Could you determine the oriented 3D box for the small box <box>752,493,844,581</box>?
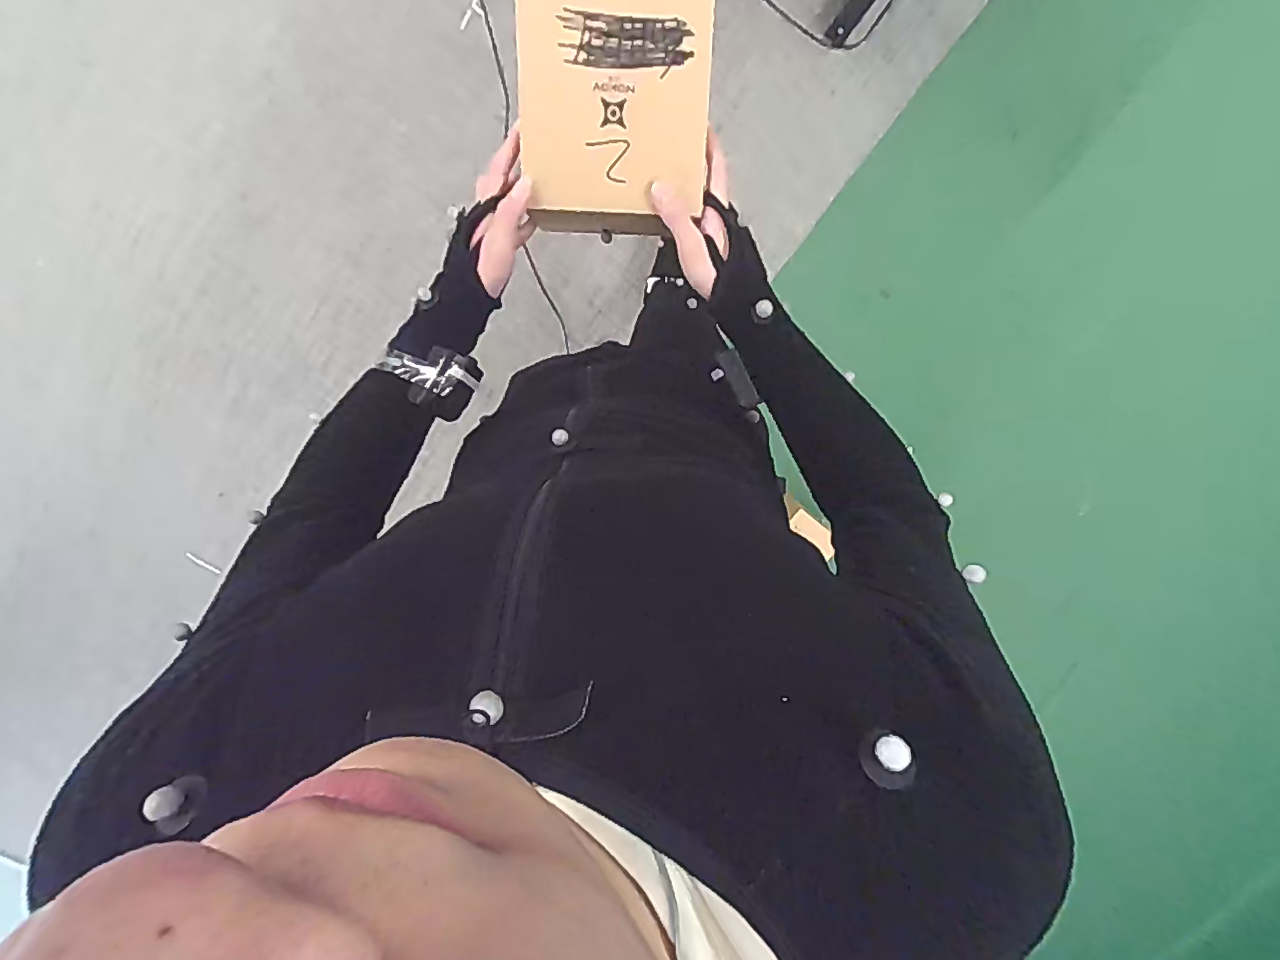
[{"bbox_3d":[0.465,0.164,1.619,0.179,0.176,0.168,38,102,-11],"label":"small box"}]
